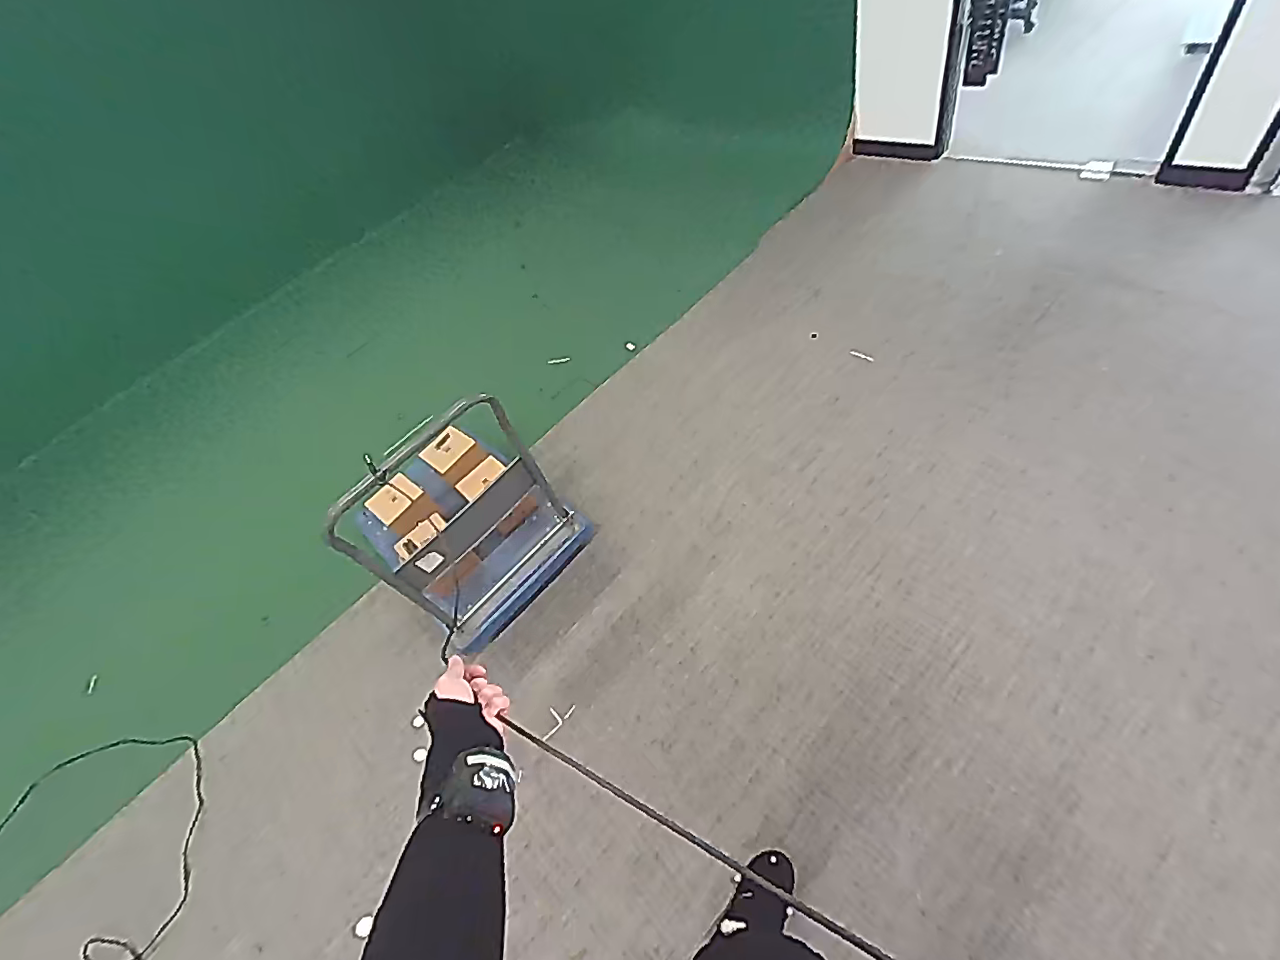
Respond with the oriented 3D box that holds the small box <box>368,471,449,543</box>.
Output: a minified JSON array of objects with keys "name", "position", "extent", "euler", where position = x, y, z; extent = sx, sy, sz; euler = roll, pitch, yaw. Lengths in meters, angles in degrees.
[{"name":"small box","position":[-0.830,0.105,1.954],"extent":[0.179,0.176,0.168],"euler":[29,67,34]}]

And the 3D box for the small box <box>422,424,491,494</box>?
[{"name":"small box","position":[-0.672,-0.075,2.033],"extent":[0.179,0.176,0.168],"euler":[29,69,33]}]

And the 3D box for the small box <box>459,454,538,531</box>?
[{"name":"small box","position":[-0.487,0.046,1.878],"extent":[0.168,0.176,0.179],"euler":[-44,54,-16]}]
